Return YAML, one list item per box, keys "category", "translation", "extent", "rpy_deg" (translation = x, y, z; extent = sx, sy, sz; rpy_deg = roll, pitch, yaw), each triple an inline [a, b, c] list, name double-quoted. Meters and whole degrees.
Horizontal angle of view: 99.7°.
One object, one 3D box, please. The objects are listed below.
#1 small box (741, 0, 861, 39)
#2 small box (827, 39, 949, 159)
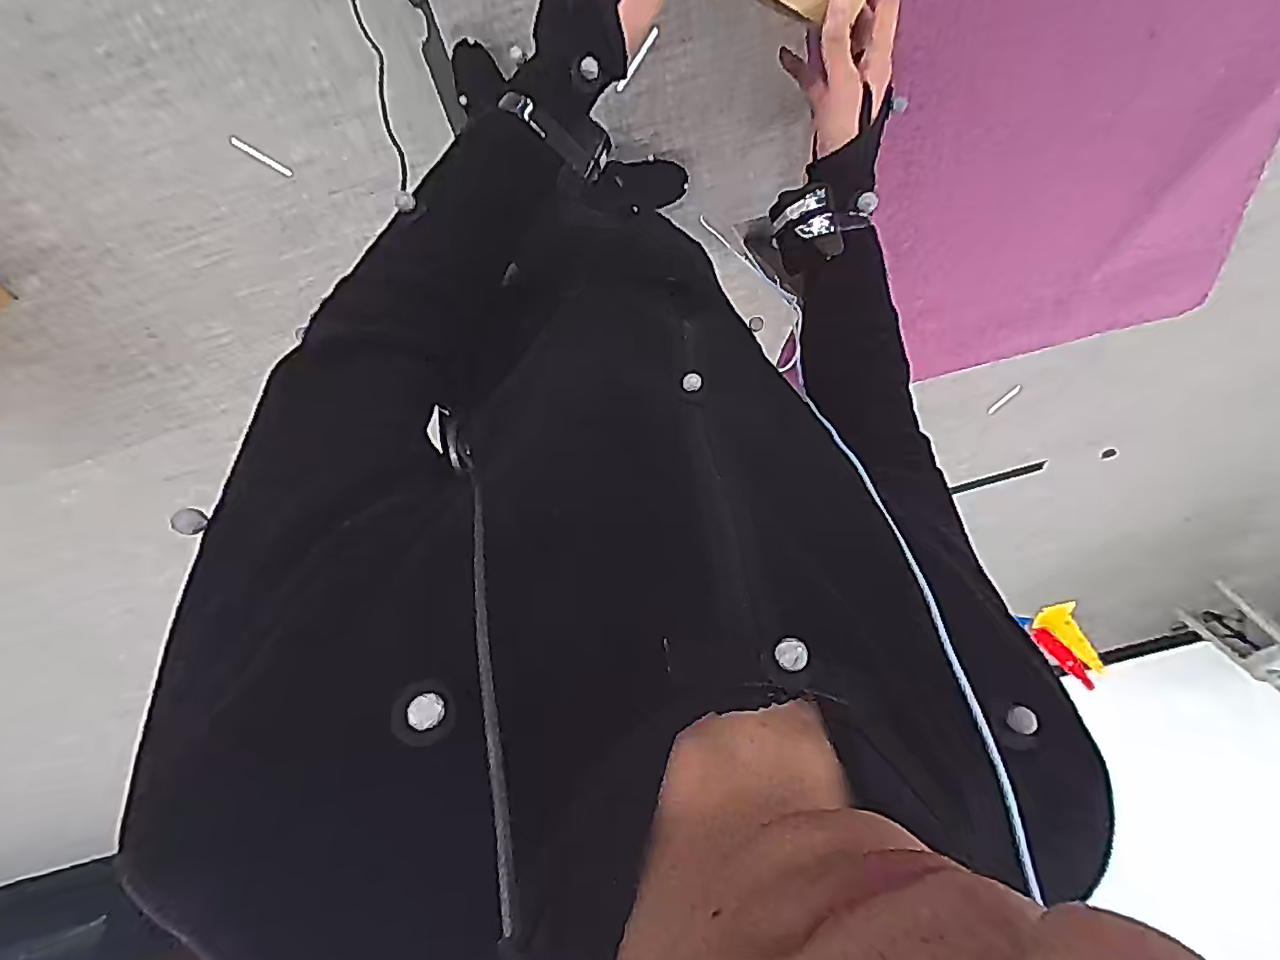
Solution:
- category: "small box"
  translation: [0.100, -0.470, 0.399]
  extent: [0.179, 0.176, 0.168]
  rpy_deg: [13, 132, -20]
- category: "small box"
  translation: [0.506, -0.798, 1.134]
  extent: [0.179, 0.176, 0.168]
  rpy_deg: [-16, 130, 1]
